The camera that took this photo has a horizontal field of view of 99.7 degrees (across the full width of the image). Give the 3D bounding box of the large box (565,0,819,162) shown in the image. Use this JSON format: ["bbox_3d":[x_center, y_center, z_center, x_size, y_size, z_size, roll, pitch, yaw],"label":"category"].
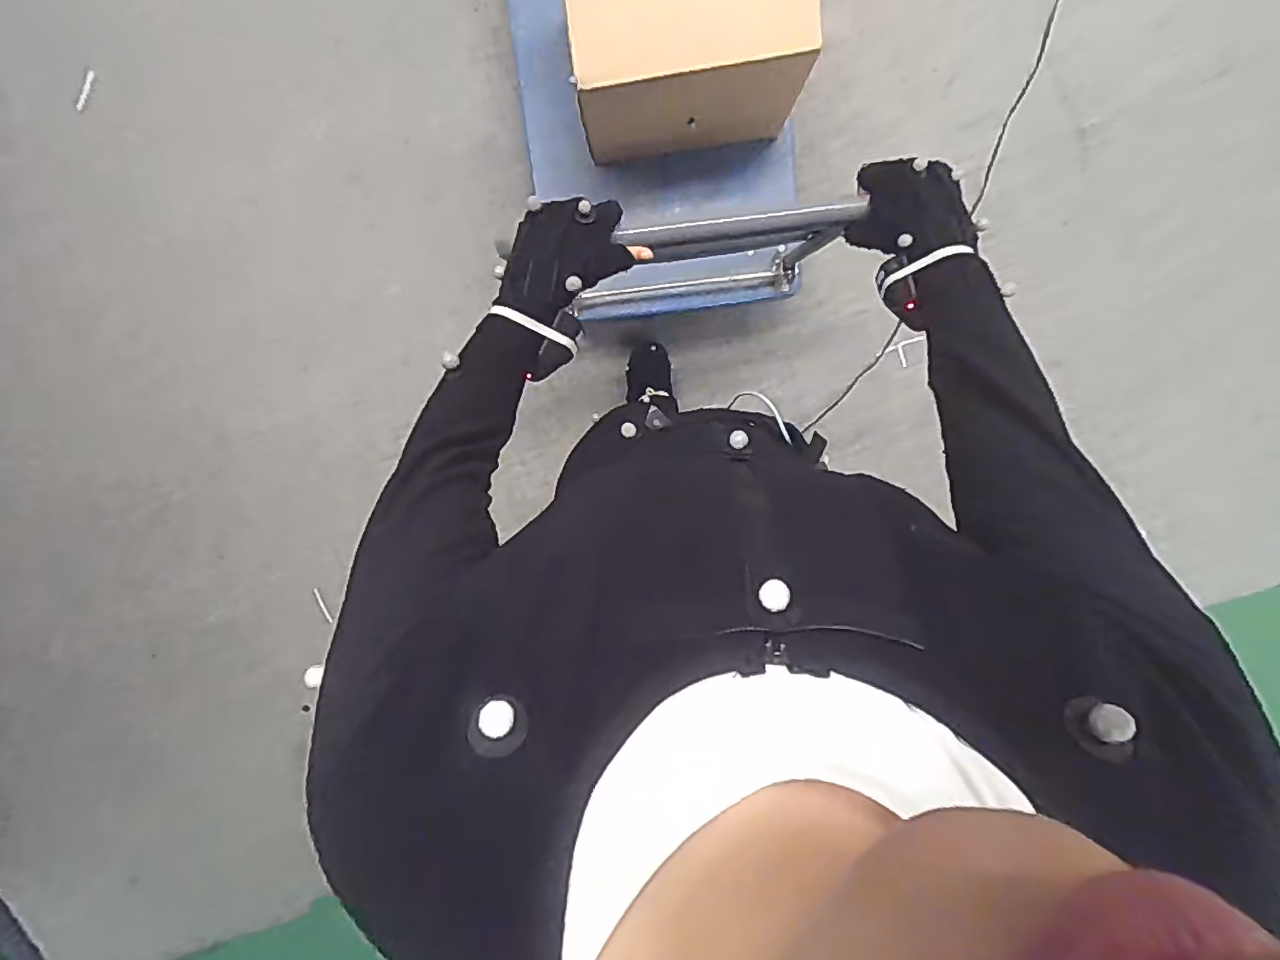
[{"bbox_3d":[0.080,-0.847,1.010,0.408,0.320,0.320,-8,99,4],"label":"large box"}]
